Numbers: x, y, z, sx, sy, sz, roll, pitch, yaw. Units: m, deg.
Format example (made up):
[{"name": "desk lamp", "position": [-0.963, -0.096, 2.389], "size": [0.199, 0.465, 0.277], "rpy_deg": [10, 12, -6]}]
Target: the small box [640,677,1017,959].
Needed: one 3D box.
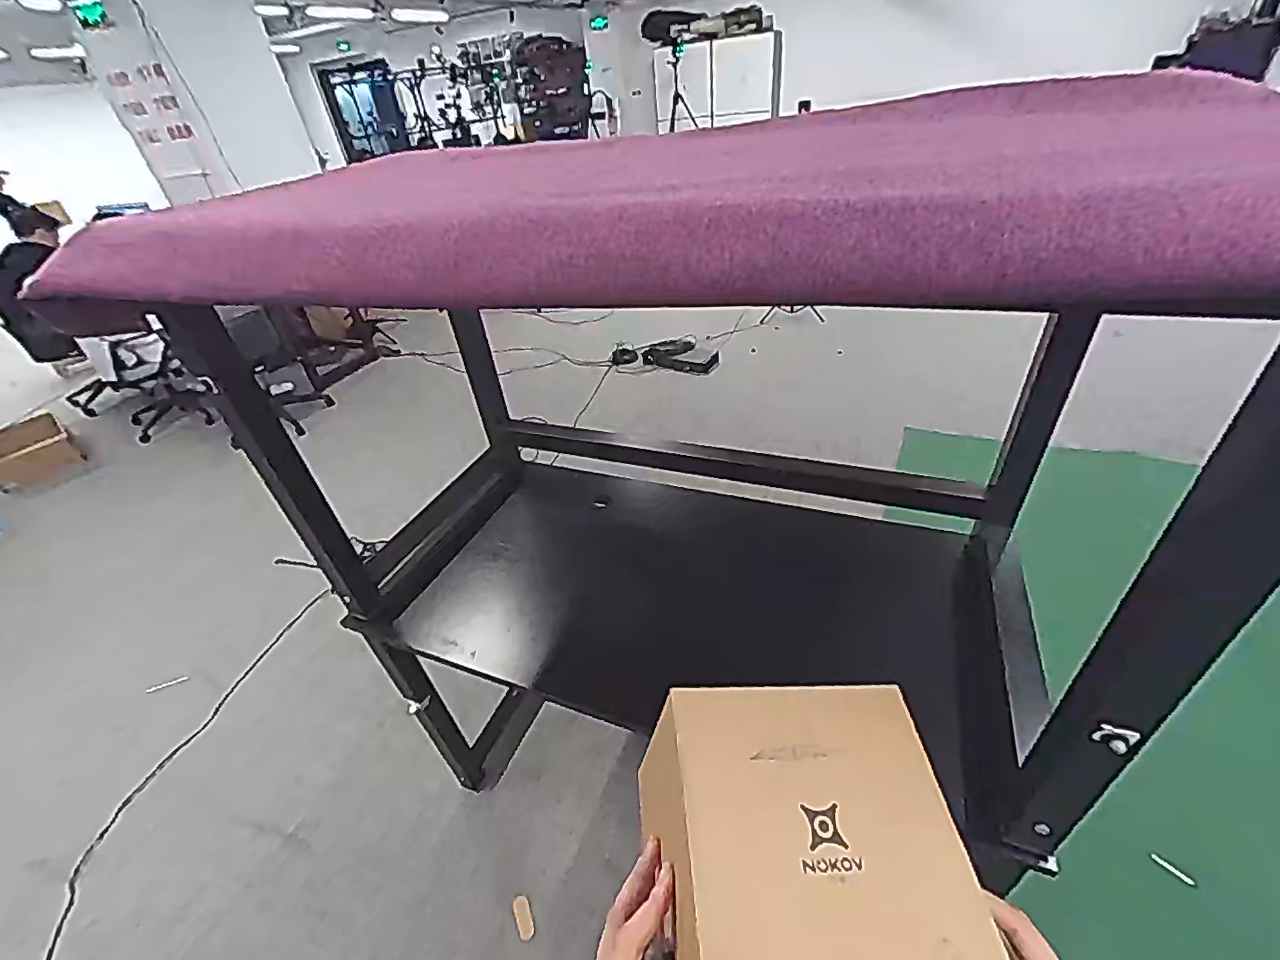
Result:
[{"name": "small box", "position": [0.095, 0.251, 0.359], "size": [0.168, 0.176, 0.179], "rpy_deg": [3, 45, -9]}]
